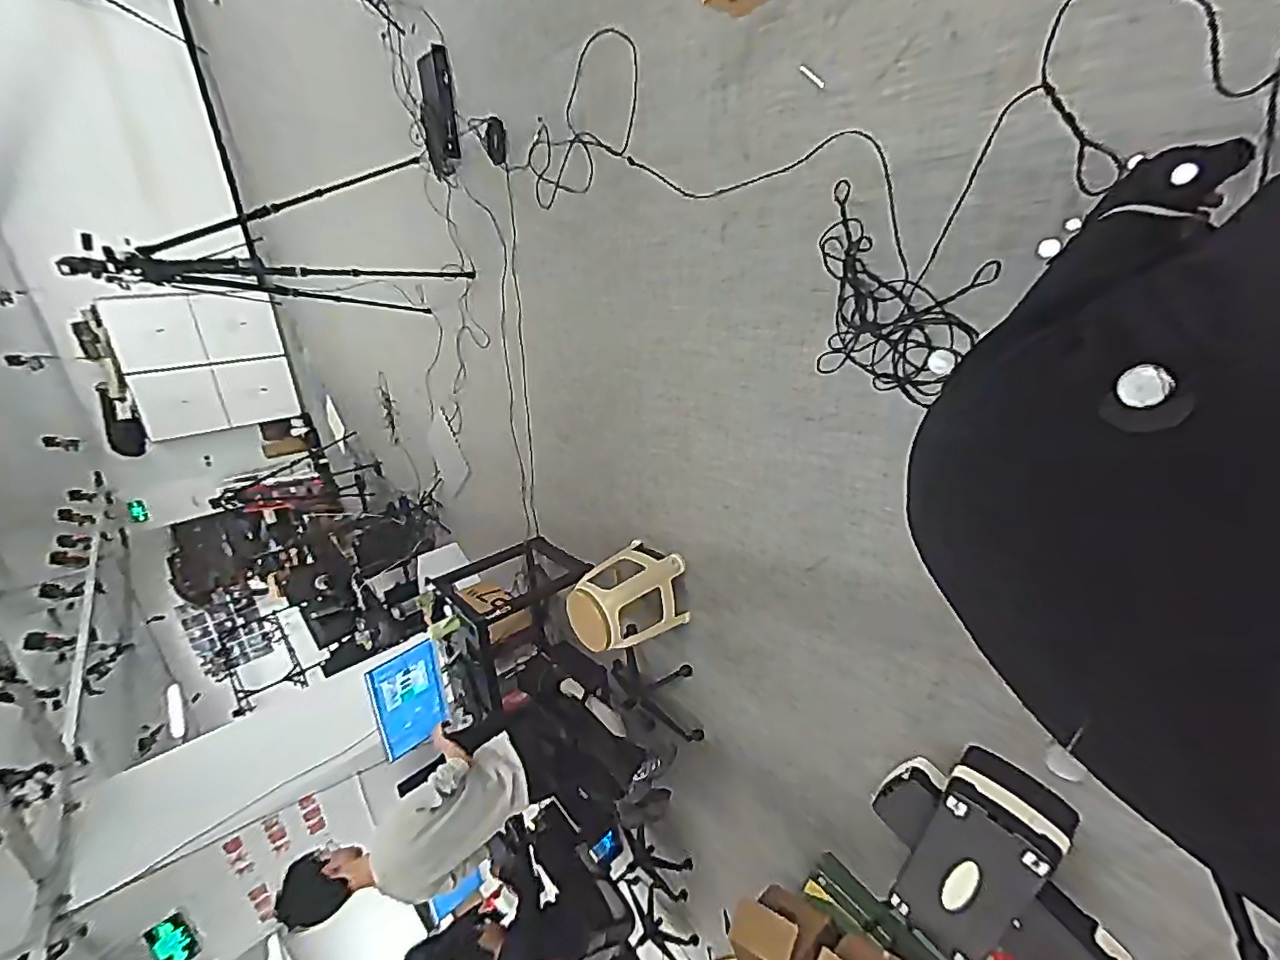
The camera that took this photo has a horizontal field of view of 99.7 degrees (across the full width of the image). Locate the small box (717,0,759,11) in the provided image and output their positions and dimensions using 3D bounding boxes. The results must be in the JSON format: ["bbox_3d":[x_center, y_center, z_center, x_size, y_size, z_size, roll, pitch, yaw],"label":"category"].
[{"bbox_3d":[0.269,-1.358,1.387,0.179,0.176,0.168,7,113,50],"label":"small box"}]
